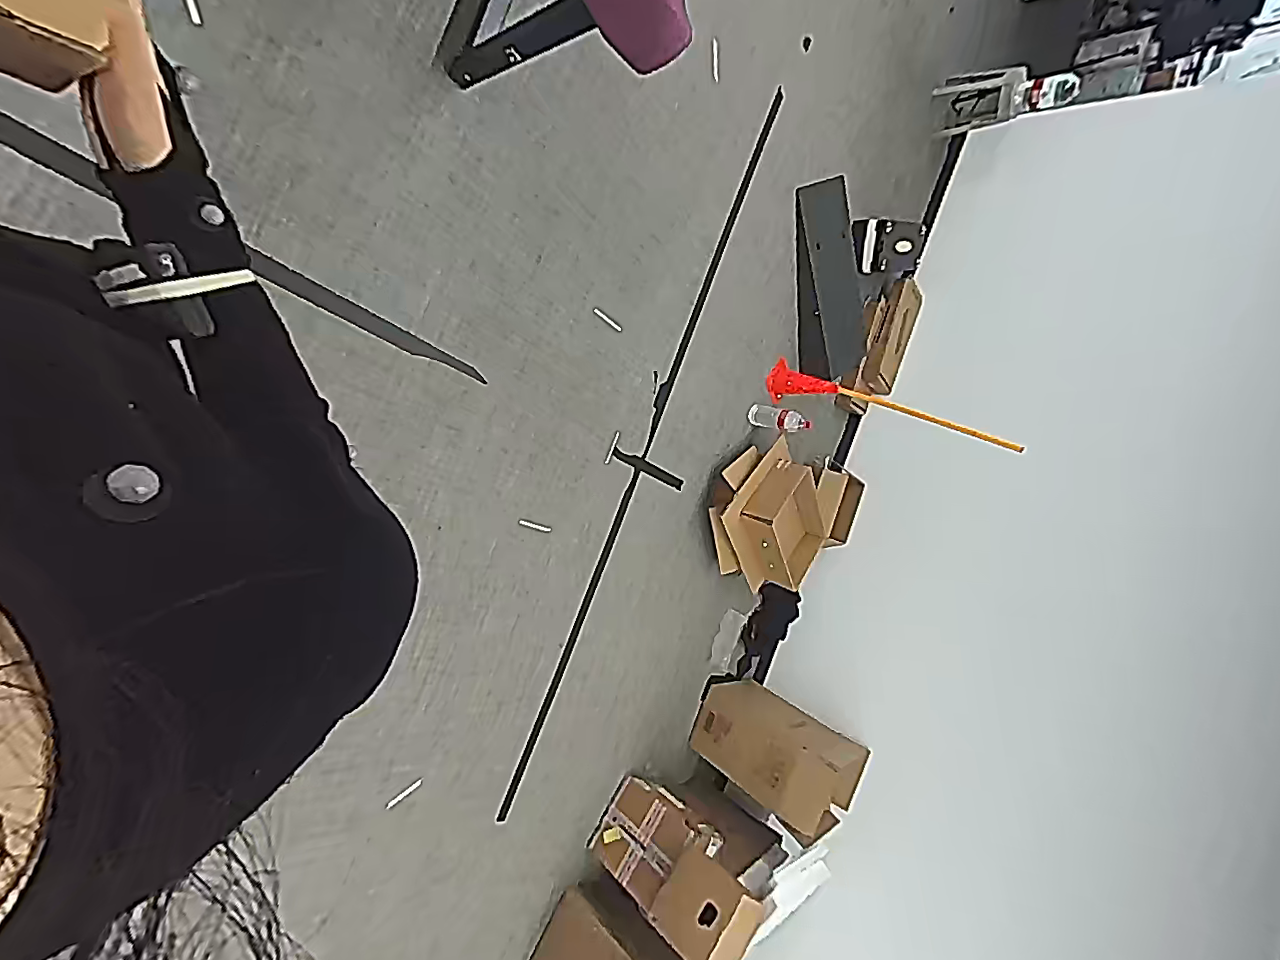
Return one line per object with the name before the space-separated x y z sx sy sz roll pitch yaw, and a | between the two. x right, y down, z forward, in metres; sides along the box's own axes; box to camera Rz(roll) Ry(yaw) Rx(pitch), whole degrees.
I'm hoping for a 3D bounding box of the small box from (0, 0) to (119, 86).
small box | -0.347 -0.306 0.232 0.168 0.176 0.179 -2 111 -53
